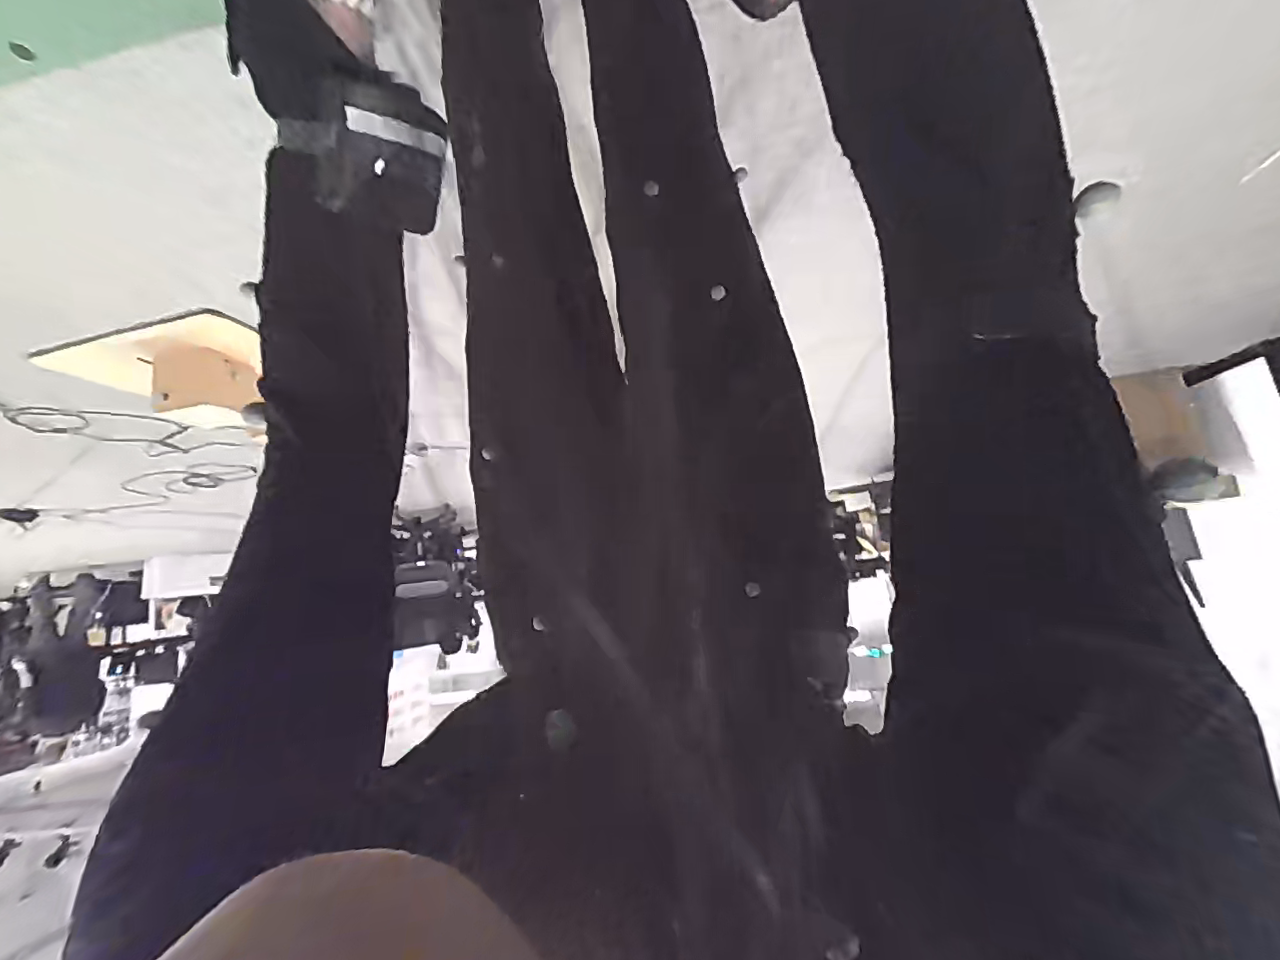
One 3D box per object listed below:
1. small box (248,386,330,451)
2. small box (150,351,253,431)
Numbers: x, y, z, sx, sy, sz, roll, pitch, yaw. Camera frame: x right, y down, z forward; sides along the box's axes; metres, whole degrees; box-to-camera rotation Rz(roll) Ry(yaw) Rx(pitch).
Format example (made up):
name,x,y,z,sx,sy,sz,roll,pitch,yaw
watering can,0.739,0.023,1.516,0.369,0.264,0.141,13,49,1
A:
name,x,y,z,sx,sy,sz,roll,pitch,yaw
small box,-1.189,-0.208,1.832,0.179,0.176,0.168,-10,169,12
small box,-1.261,-0.254,1.565,0.179,0.176,0.168,-9,170,5
